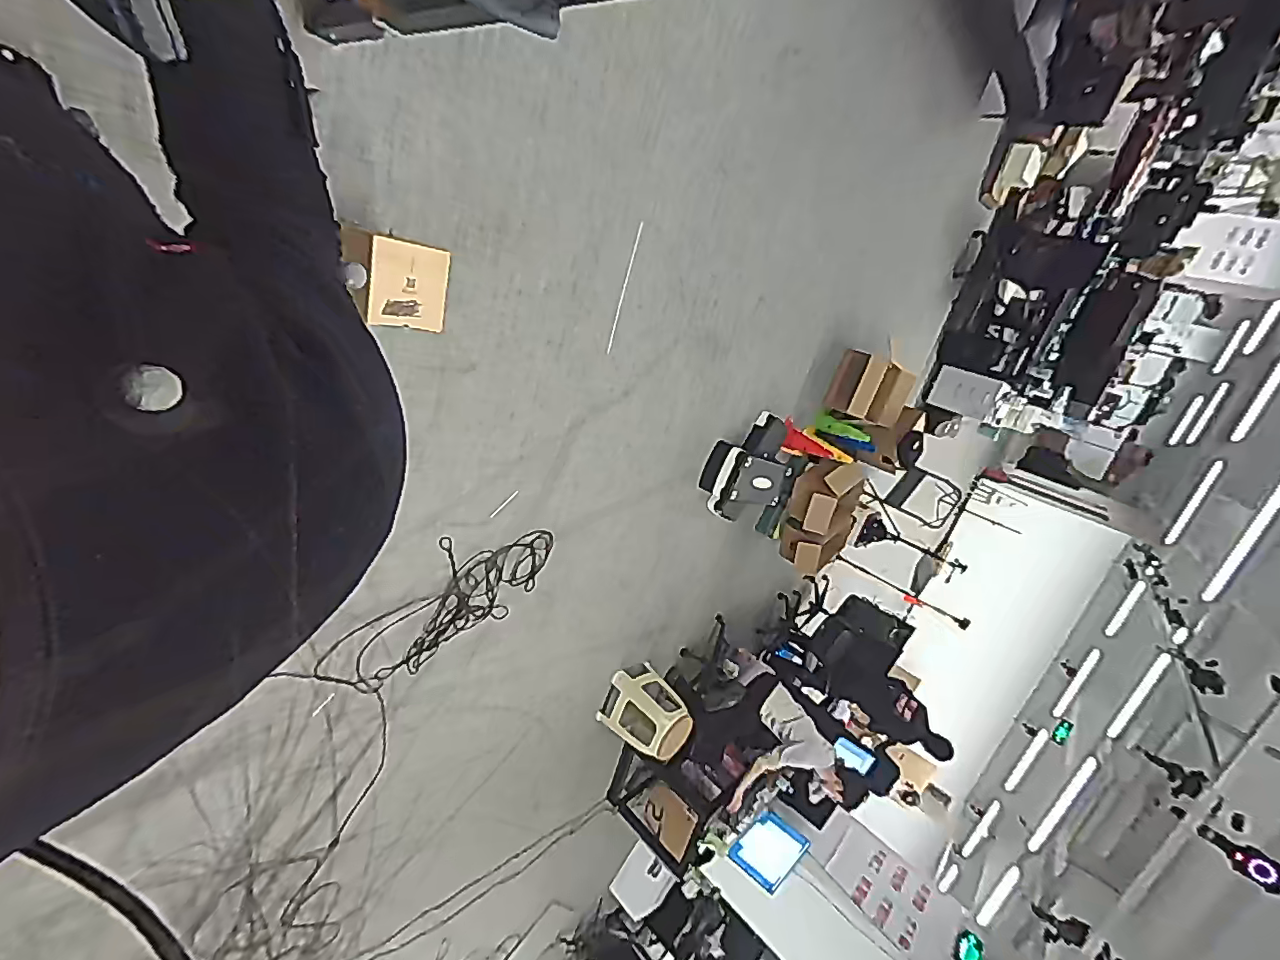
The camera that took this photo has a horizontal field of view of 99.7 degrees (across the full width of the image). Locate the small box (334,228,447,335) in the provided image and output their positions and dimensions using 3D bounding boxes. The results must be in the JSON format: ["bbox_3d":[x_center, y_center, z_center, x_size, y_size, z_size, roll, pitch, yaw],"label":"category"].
[{"bbox_3d":[-0.547,-0.430,1.177,0.168,0.176,0.179,-8,119,-48],"label":"small box"}]
